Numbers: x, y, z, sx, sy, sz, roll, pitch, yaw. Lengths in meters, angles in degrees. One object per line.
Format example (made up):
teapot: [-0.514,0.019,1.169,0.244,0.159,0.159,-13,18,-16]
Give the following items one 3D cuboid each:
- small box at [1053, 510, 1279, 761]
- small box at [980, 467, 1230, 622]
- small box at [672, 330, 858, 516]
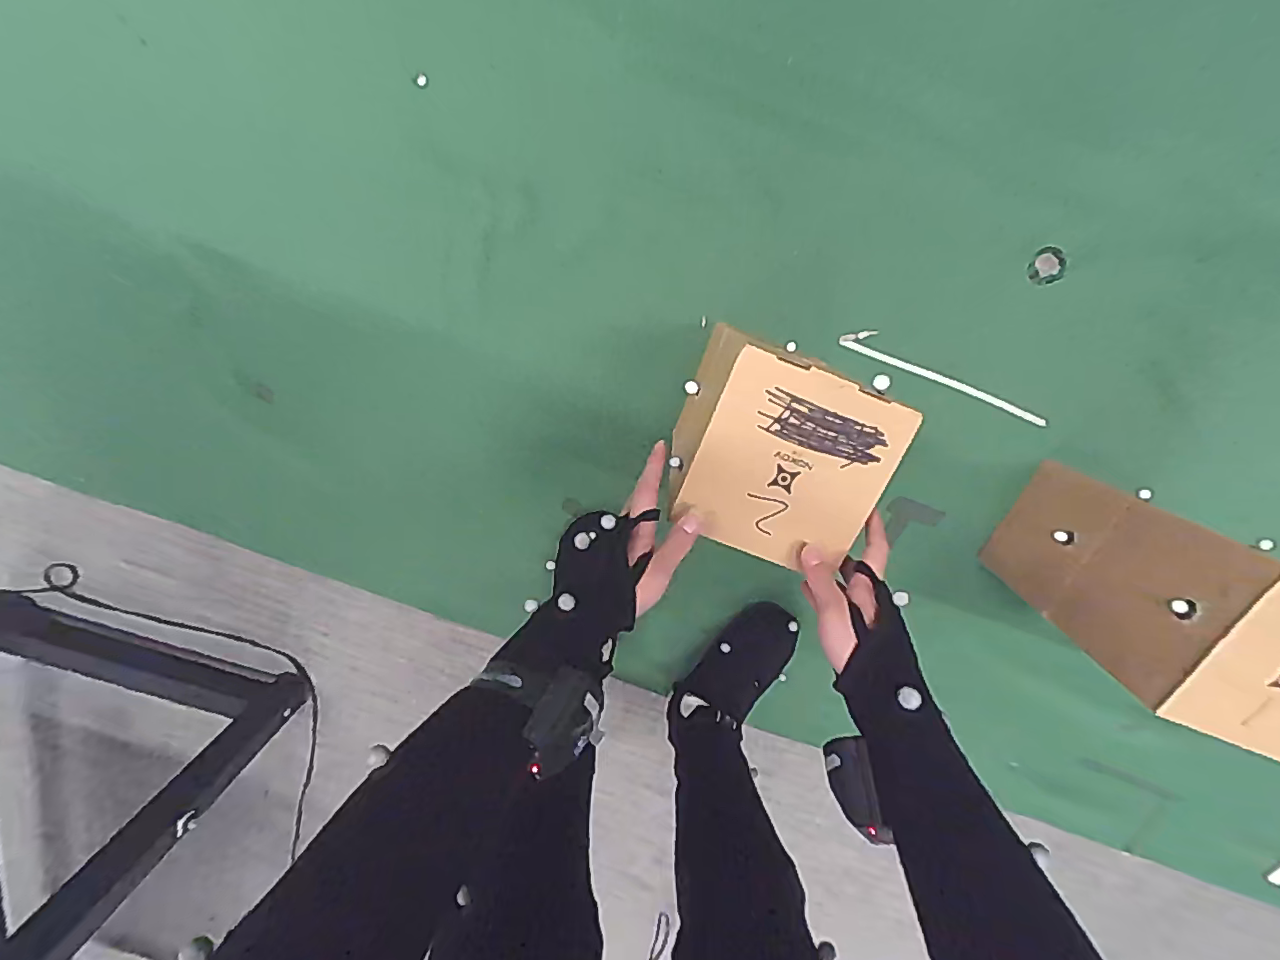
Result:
small box: [0.609,0.155,0.584,0.168,0.176,0.179,21,108,-4]
small box: [0.615,0.103,0.740,0.168,0.176,0.179,22,108,-4]
small box: [0.150,-0.084,0.710,0.168,0.176,0.179,21,107,-3]
